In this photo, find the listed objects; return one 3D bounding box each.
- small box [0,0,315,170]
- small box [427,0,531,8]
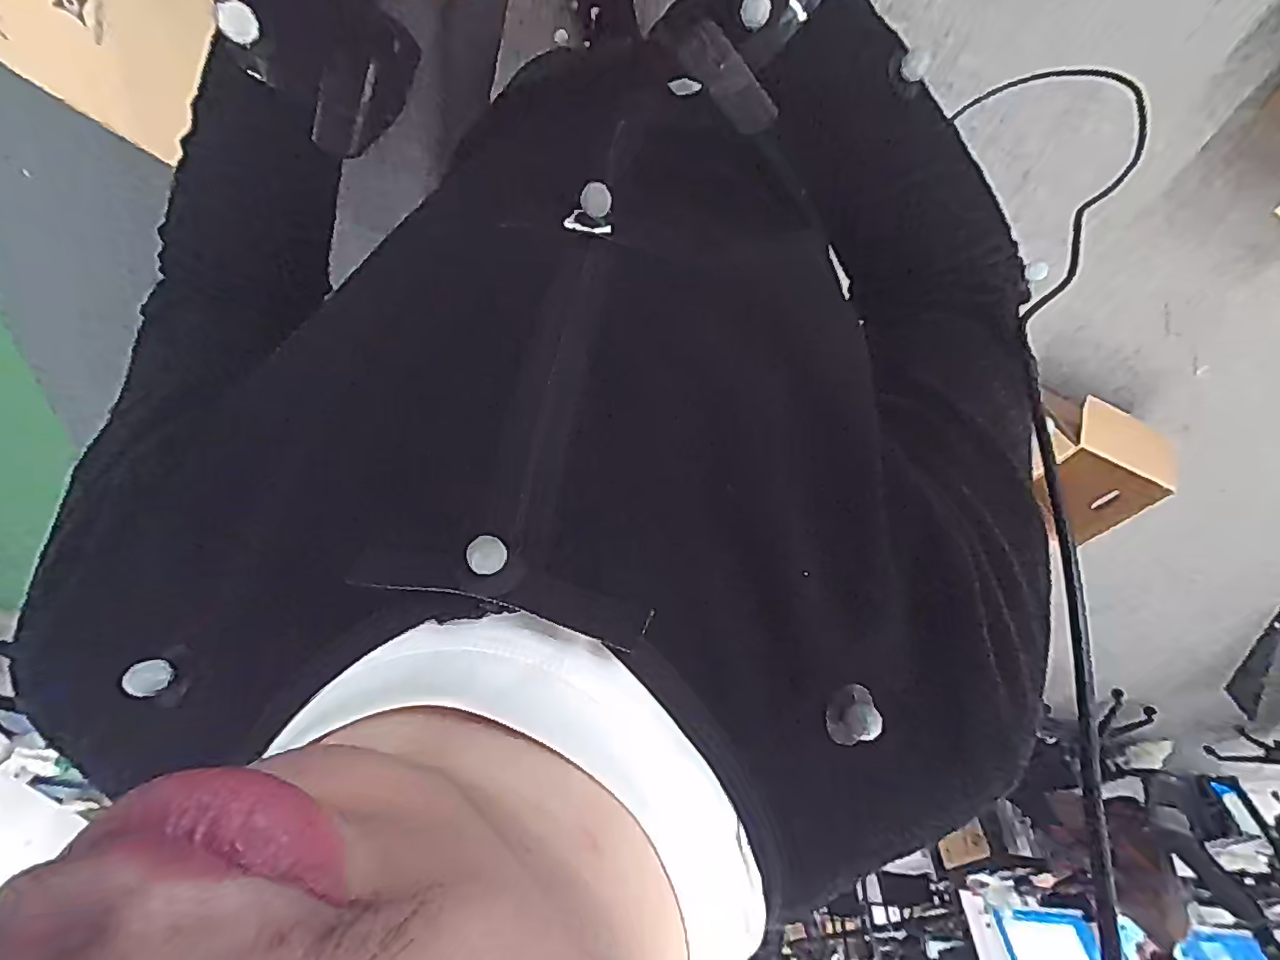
[{"bbox_3d":[-0.425,-0.426,0.476,0.179,0.176,0.168,31,128,-25],"label":"small box"},{"bbox_3d":[-0.054,-0.362,0.236,0.168,0.179,0.176,-5,103,-1],"label":"small box"}]
